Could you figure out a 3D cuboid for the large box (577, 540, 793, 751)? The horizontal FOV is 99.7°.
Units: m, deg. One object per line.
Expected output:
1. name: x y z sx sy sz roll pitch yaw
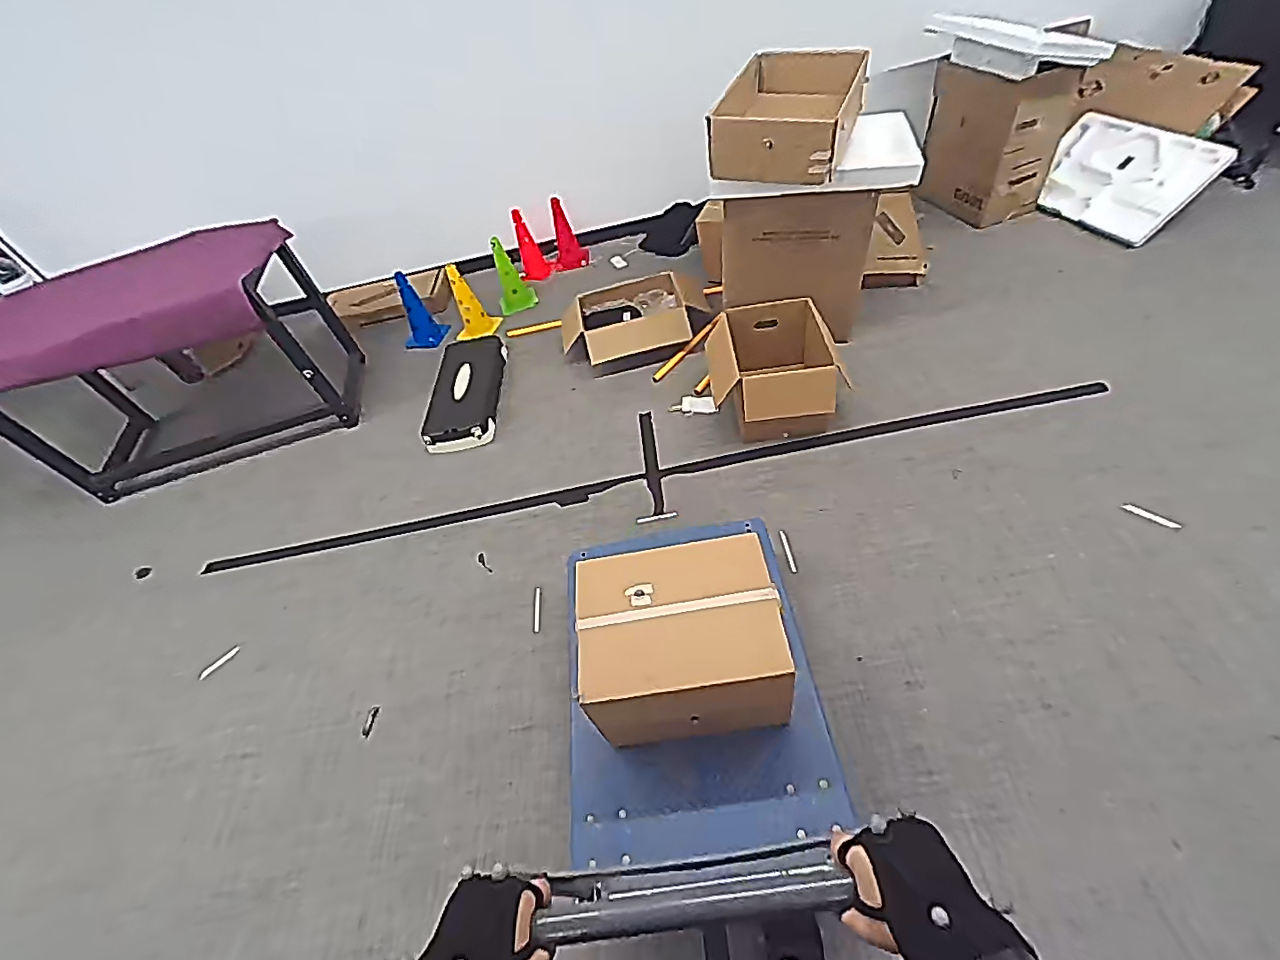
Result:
1. large box: 0.098 0.376 1.207 0.408 0.320 0.320 -11 48 5
